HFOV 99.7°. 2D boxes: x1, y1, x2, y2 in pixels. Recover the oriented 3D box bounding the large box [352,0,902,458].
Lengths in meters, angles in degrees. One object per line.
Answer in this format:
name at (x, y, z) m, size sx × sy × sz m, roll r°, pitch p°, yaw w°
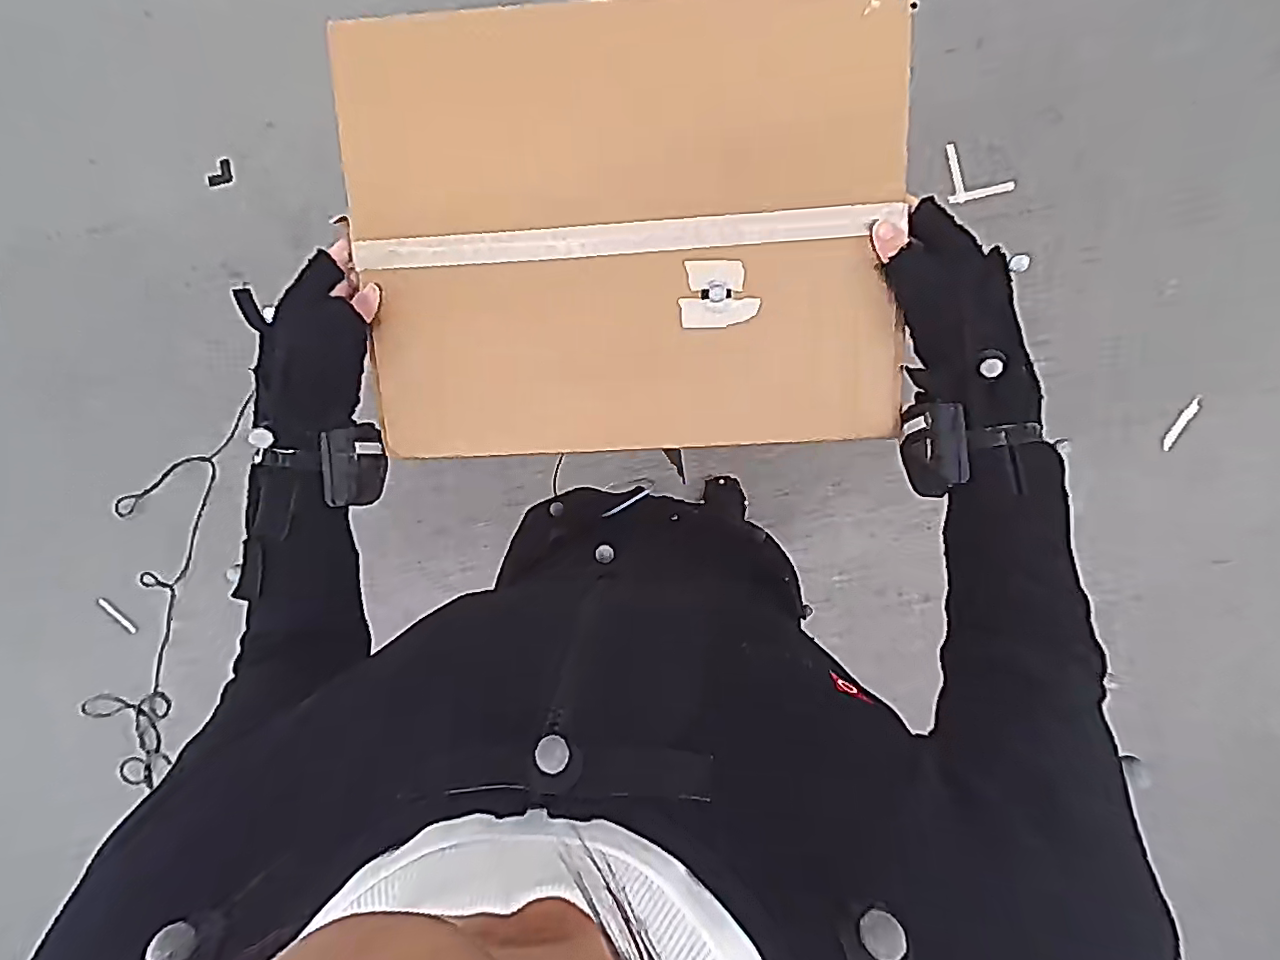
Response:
large box at (-0.001, -0.207, 0.557) m, size 0.408 × 0.320 × 0.320 m, roll -3°, pitch 100°, yaw 2°
